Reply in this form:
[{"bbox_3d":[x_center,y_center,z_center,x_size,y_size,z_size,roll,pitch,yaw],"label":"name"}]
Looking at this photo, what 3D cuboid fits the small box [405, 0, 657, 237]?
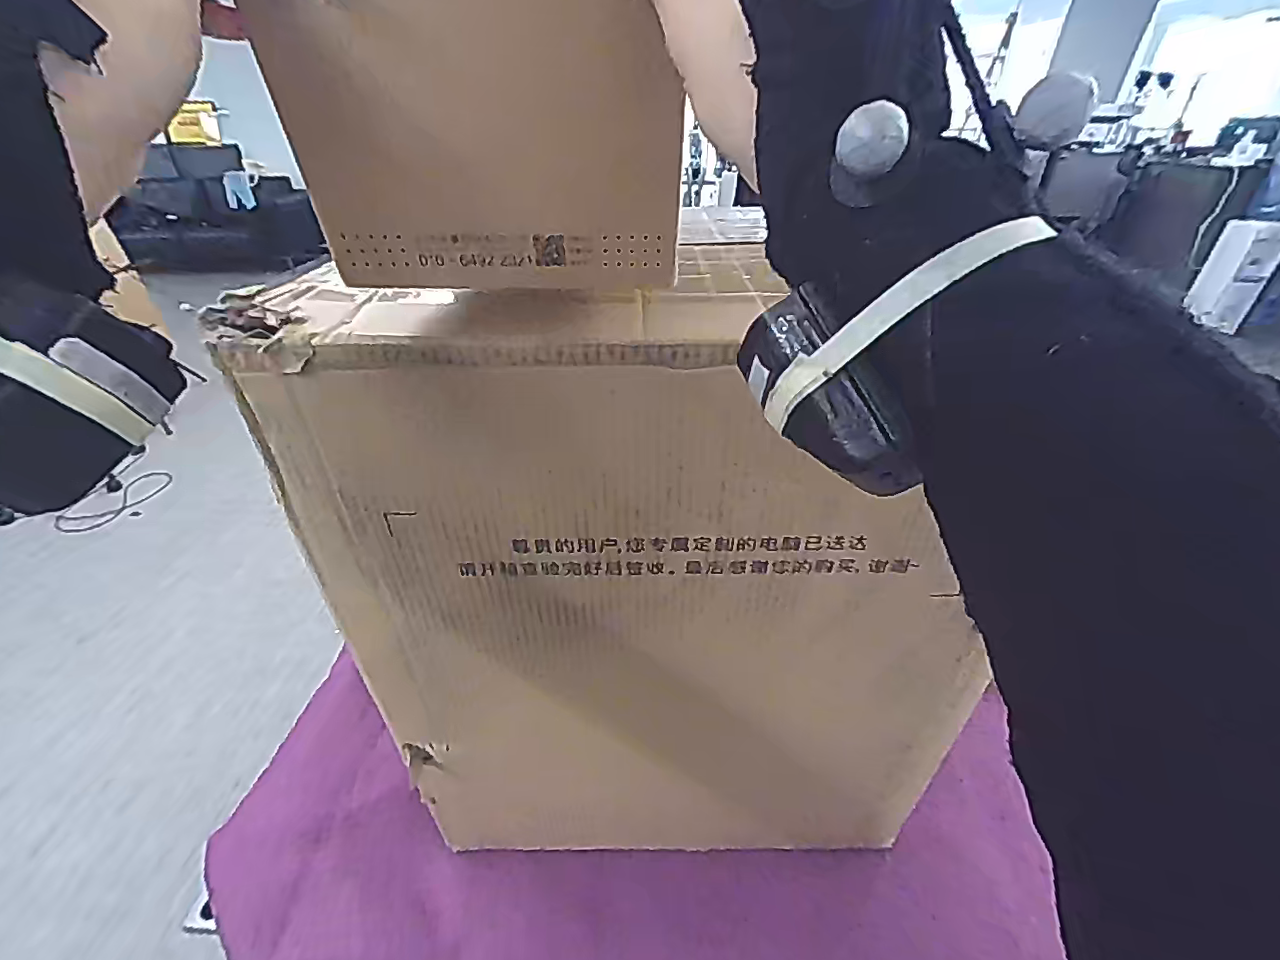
[{"bbox_3d":[-0.078,-0.311,0.464,0.179,0.176,0.168,0,35,-3],"label":"small box"}]
